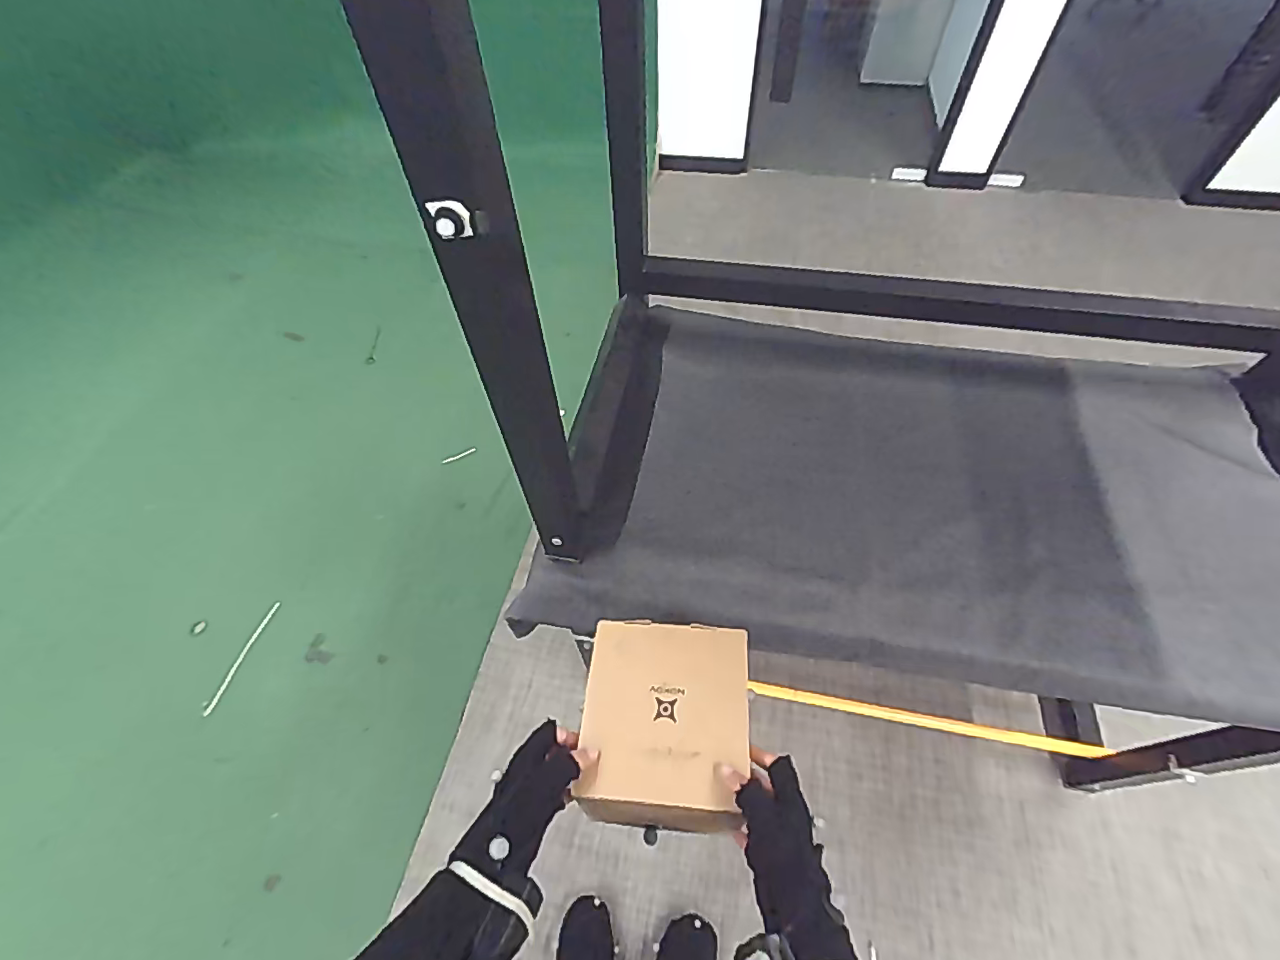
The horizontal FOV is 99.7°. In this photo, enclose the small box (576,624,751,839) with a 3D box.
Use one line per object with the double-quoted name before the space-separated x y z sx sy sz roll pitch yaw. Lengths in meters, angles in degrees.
"small box" 0.033 0.283 0.610 0.168 0.176 0.179 2 51 7
